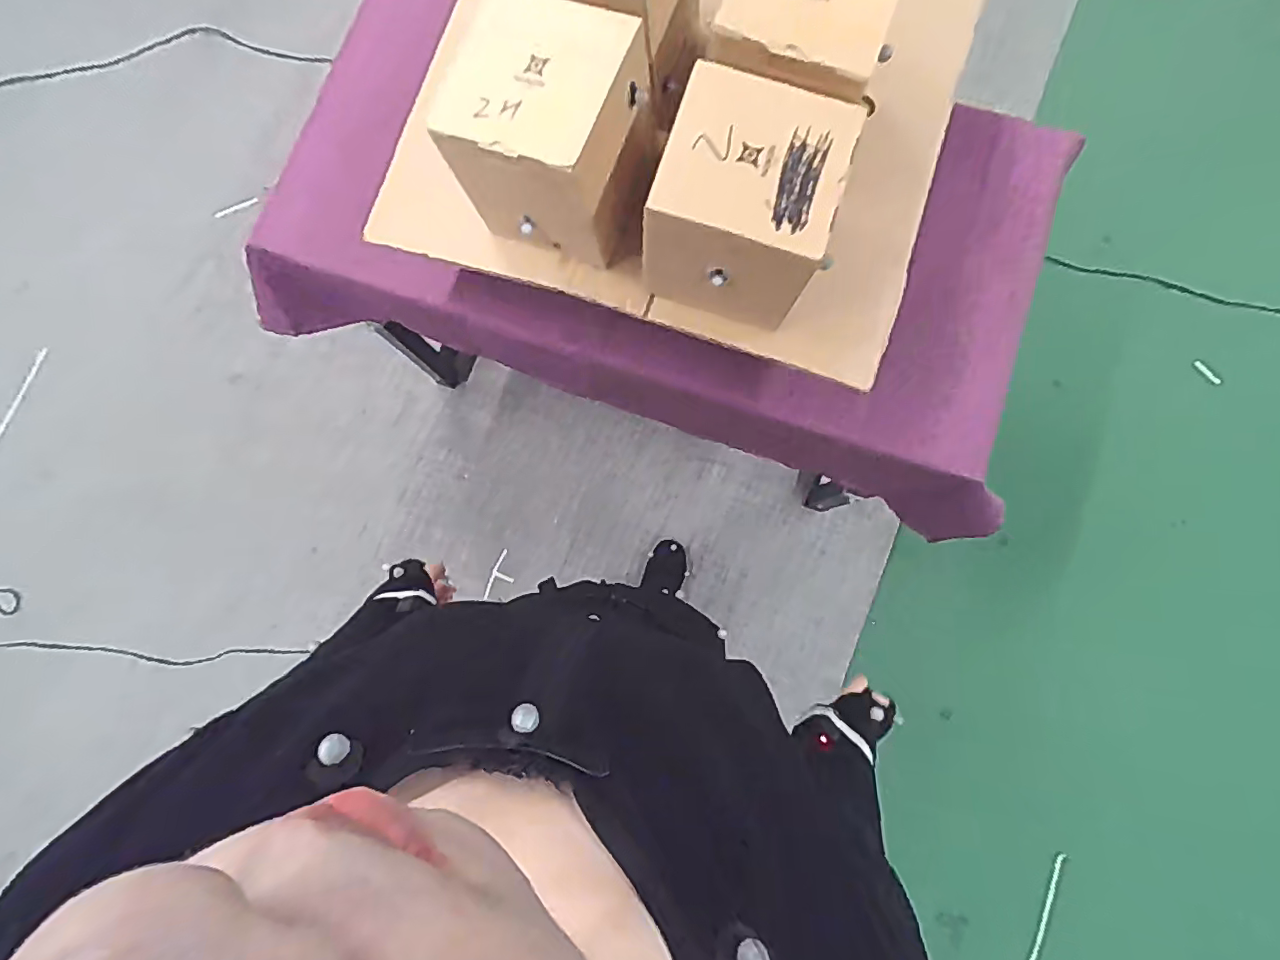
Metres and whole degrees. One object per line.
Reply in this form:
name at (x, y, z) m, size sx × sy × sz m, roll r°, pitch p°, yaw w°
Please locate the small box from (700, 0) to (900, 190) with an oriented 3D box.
small box at (0.178, -0.485, 0.626) m, size 0.168 × 0.176 × 0.179 m, roll 20°, pitch 84°, yaw 2°
